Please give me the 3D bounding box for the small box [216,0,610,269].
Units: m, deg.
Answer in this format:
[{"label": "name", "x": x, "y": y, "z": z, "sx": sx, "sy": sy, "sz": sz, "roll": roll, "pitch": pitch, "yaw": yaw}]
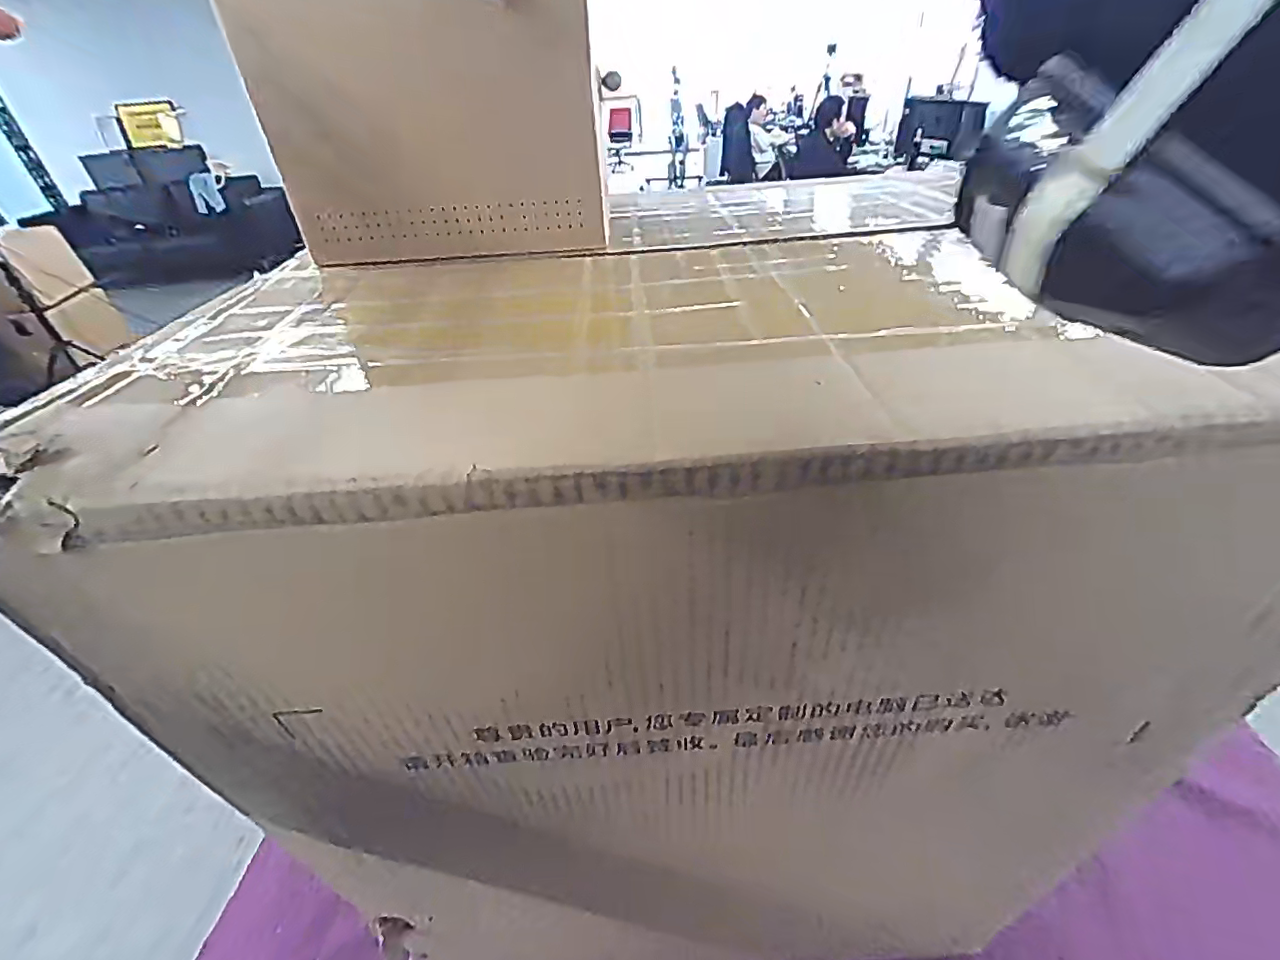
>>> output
[{"label": "small box", "x": -0.110, "y": -0.240, "z": 0.334, "sx": 0.179, "sy": 0.176, "sz": 0.168, "roll": -4, "pitch": 36, "yaw": 0}]
